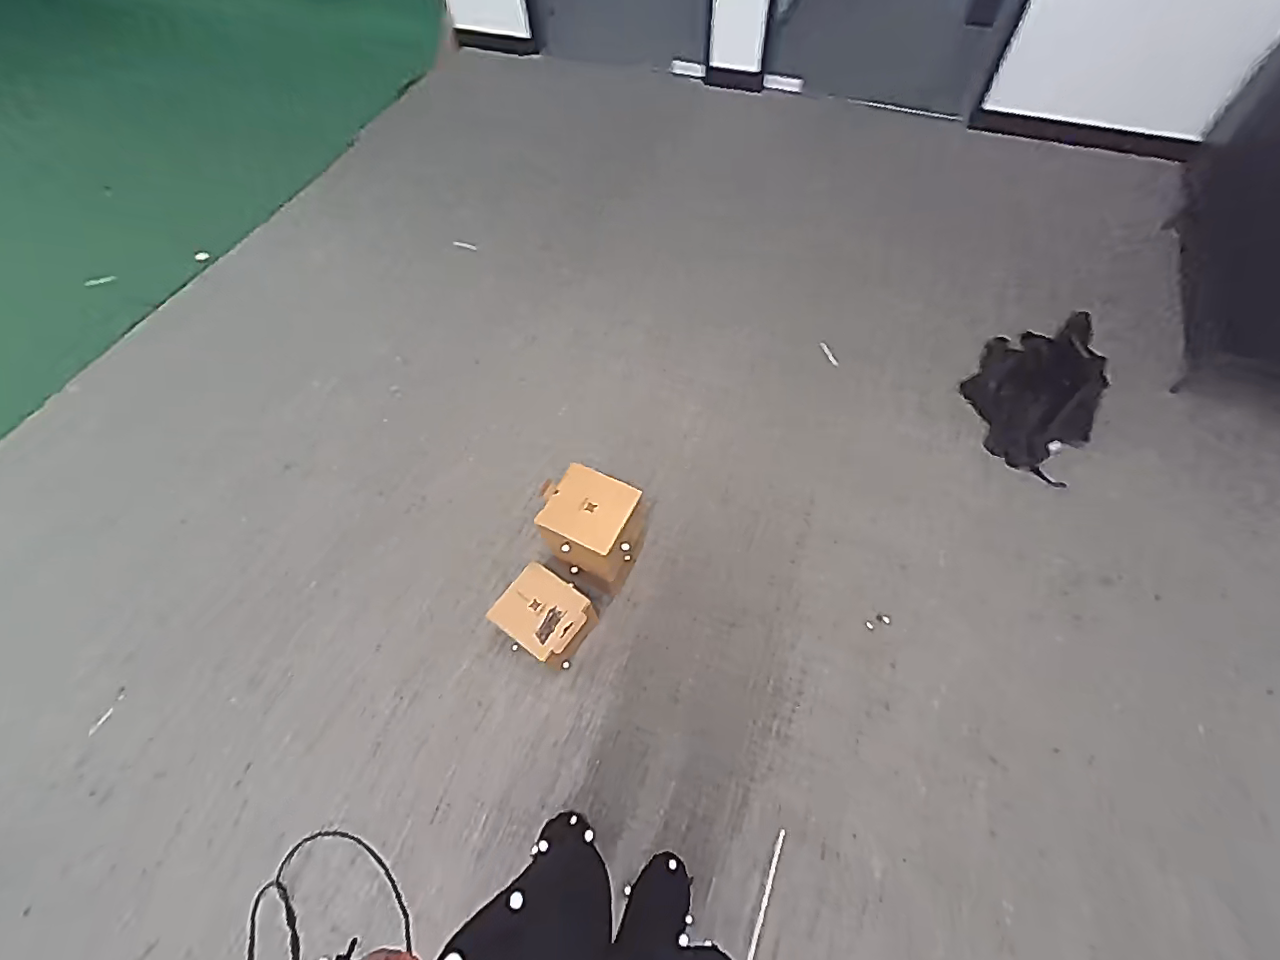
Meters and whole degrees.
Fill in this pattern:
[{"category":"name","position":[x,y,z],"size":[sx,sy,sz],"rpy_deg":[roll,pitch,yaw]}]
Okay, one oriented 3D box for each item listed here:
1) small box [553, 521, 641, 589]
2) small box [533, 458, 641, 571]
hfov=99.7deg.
[{"category":"small box","position":[-0.109,0.150,1.355],"size":[0.179,0.176,0.168],"rpy_deg":[23,64,15]},{"category":"small box","position":[-0.107,0.085,1.204],"size":[0.179,0.176,0.168],"rpy_deg":[23,65,15]}]
